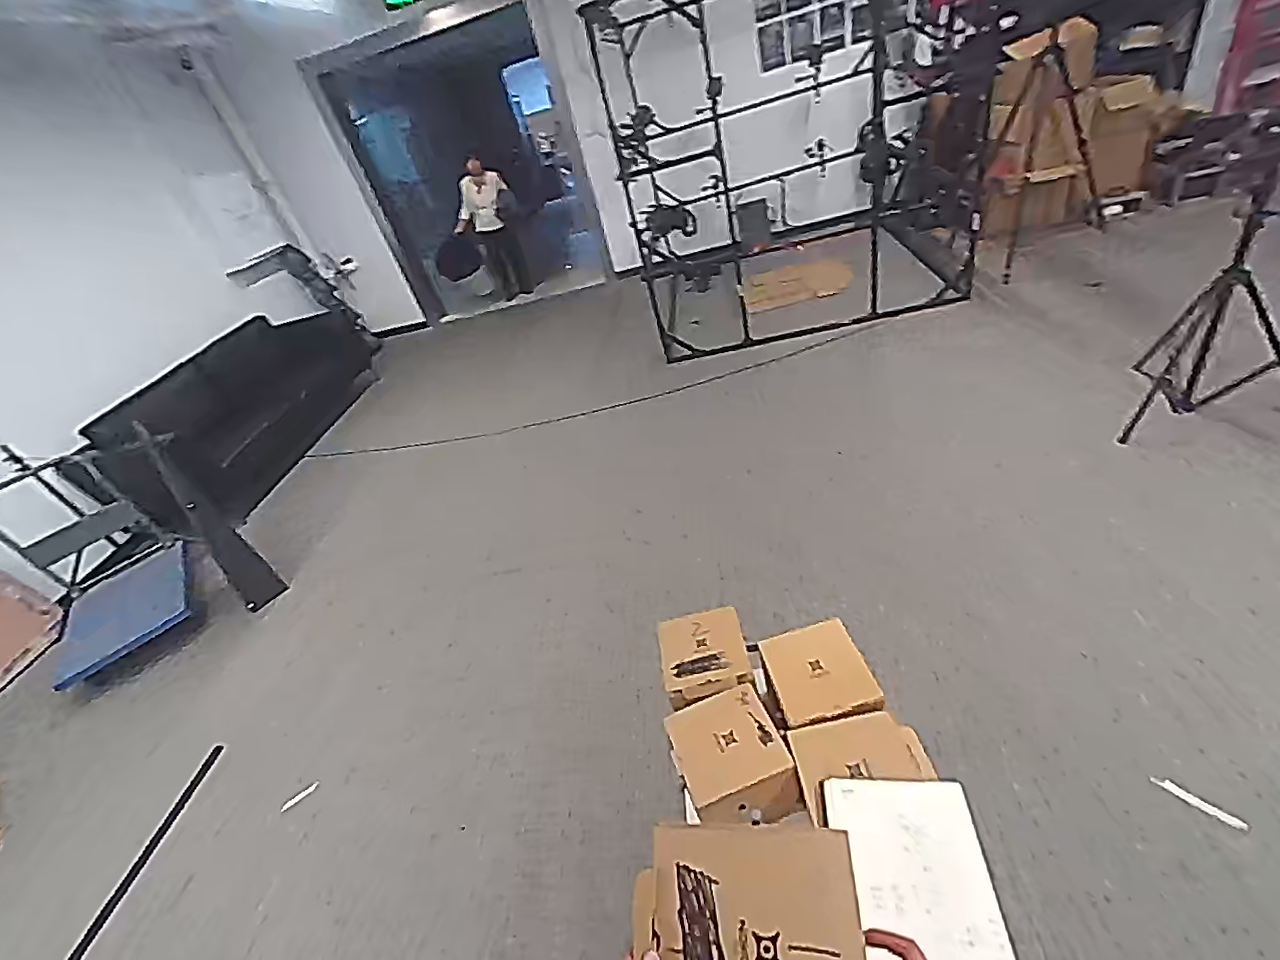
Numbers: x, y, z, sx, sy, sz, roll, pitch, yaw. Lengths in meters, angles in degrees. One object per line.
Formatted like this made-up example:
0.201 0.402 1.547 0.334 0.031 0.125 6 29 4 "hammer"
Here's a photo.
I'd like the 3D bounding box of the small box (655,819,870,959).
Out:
0.111 0.424 0.514 0.179 0.176 0.168 -3 58 8 "small box"
